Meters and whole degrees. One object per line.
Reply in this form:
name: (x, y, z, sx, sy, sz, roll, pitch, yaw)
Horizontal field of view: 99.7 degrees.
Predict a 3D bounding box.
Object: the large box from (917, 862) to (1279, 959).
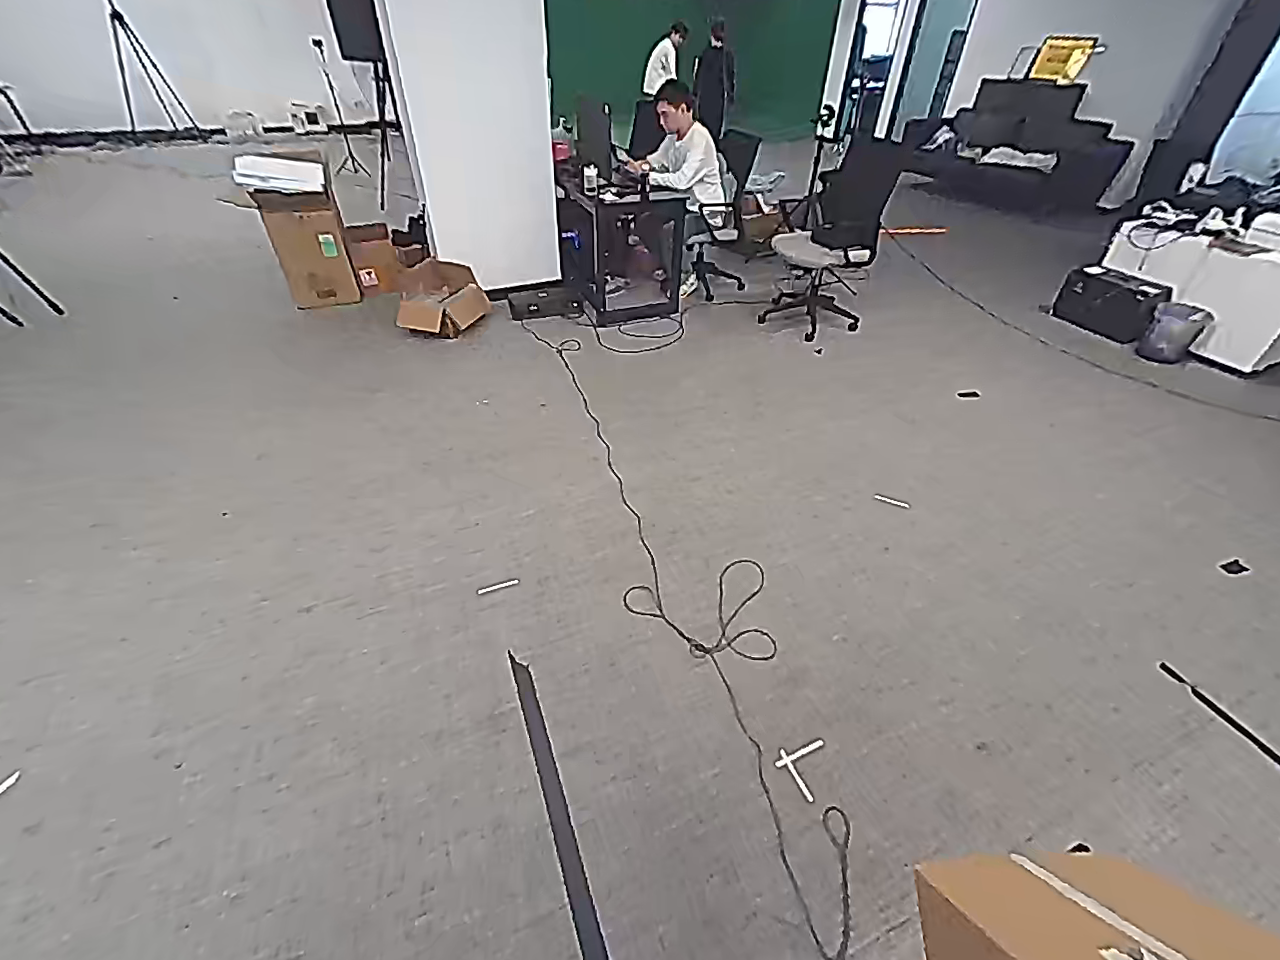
large box: (0.573, 0.687, 0.596, 0.320, 0.408, 0.320, -1, 77, -1)
